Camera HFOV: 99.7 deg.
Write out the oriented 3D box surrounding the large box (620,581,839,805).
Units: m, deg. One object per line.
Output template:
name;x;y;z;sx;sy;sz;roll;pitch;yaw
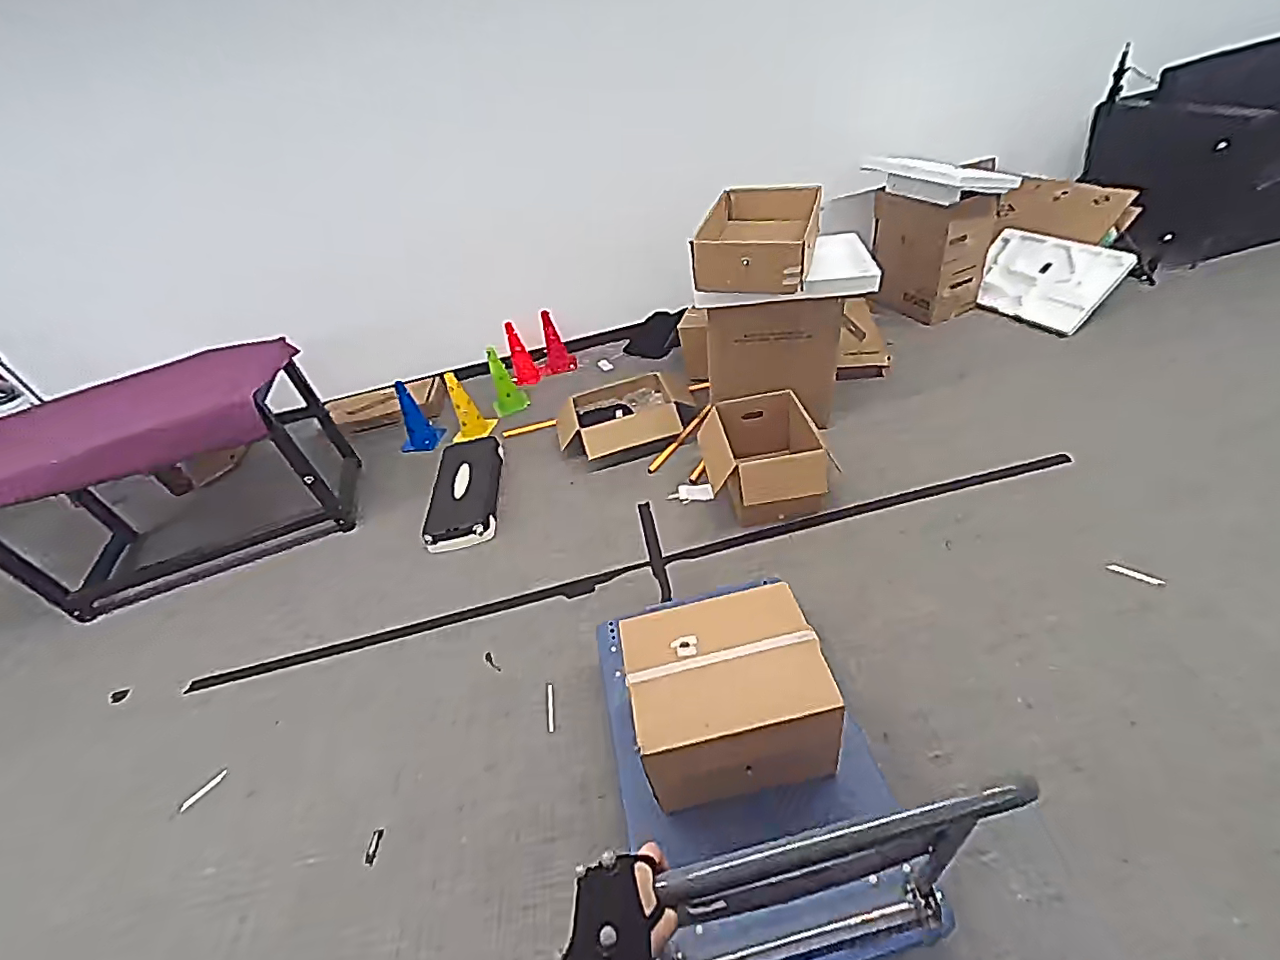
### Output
large box;0.196;0.491;1.248;0.408;0.320;0.320;-14;39;-1
